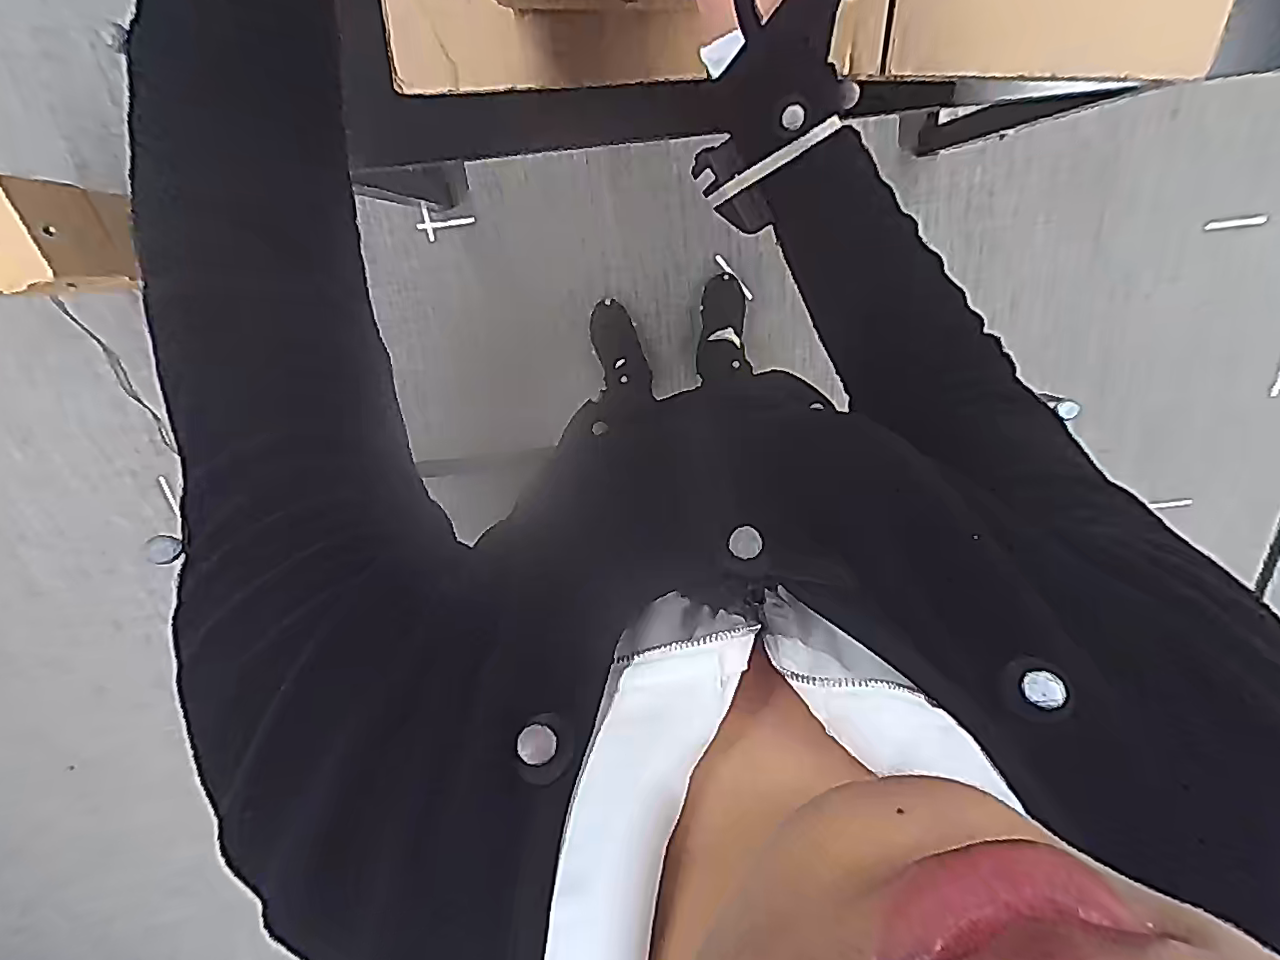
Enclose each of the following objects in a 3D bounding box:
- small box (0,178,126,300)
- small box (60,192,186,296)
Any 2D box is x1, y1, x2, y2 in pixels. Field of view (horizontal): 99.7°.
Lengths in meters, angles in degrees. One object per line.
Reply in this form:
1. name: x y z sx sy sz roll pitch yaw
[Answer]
1. small box: -1.150 -0.450 1.022 0.168 0.176 0.179 -14 112 1
2. small box: -1.157 -0.508 1.173 0.168 0.176 0.179 -11 114 1
